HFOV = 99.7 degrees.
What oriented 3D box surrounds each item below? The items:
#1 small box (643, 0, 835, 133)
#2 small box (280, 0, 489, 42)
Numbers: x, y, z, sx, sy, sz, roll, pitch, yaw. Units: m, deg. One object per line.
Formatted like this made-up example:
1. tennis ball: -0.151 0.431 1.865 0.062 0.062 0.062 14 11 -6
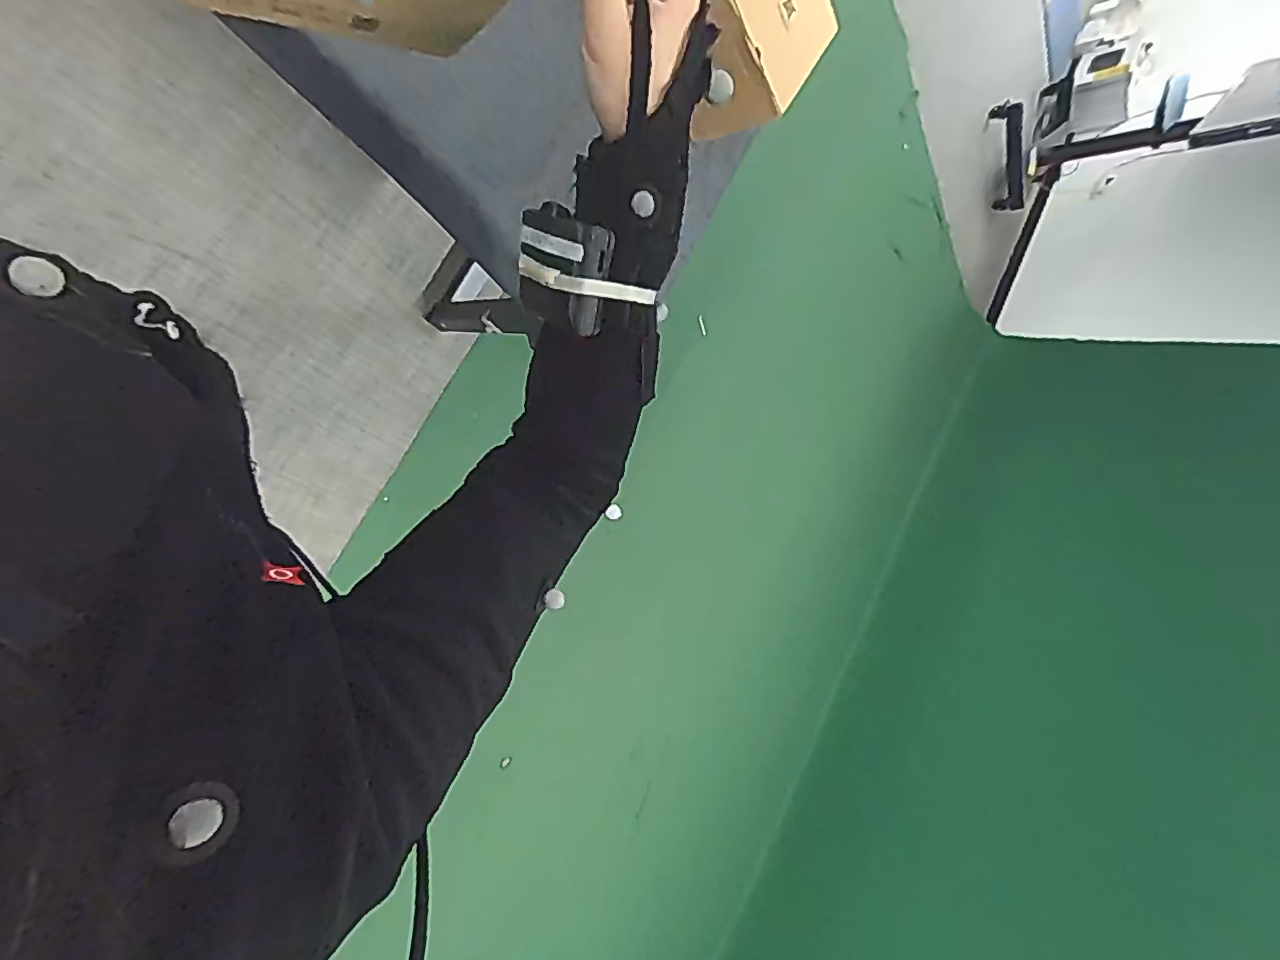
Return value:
1. small box: 0.135 -0.627 0.749 0.168 0.176 0.179 41 77 -43
2. small box: -0.131 -0.314 0.209 0.168 0.176 0.179 -22 114 -38
